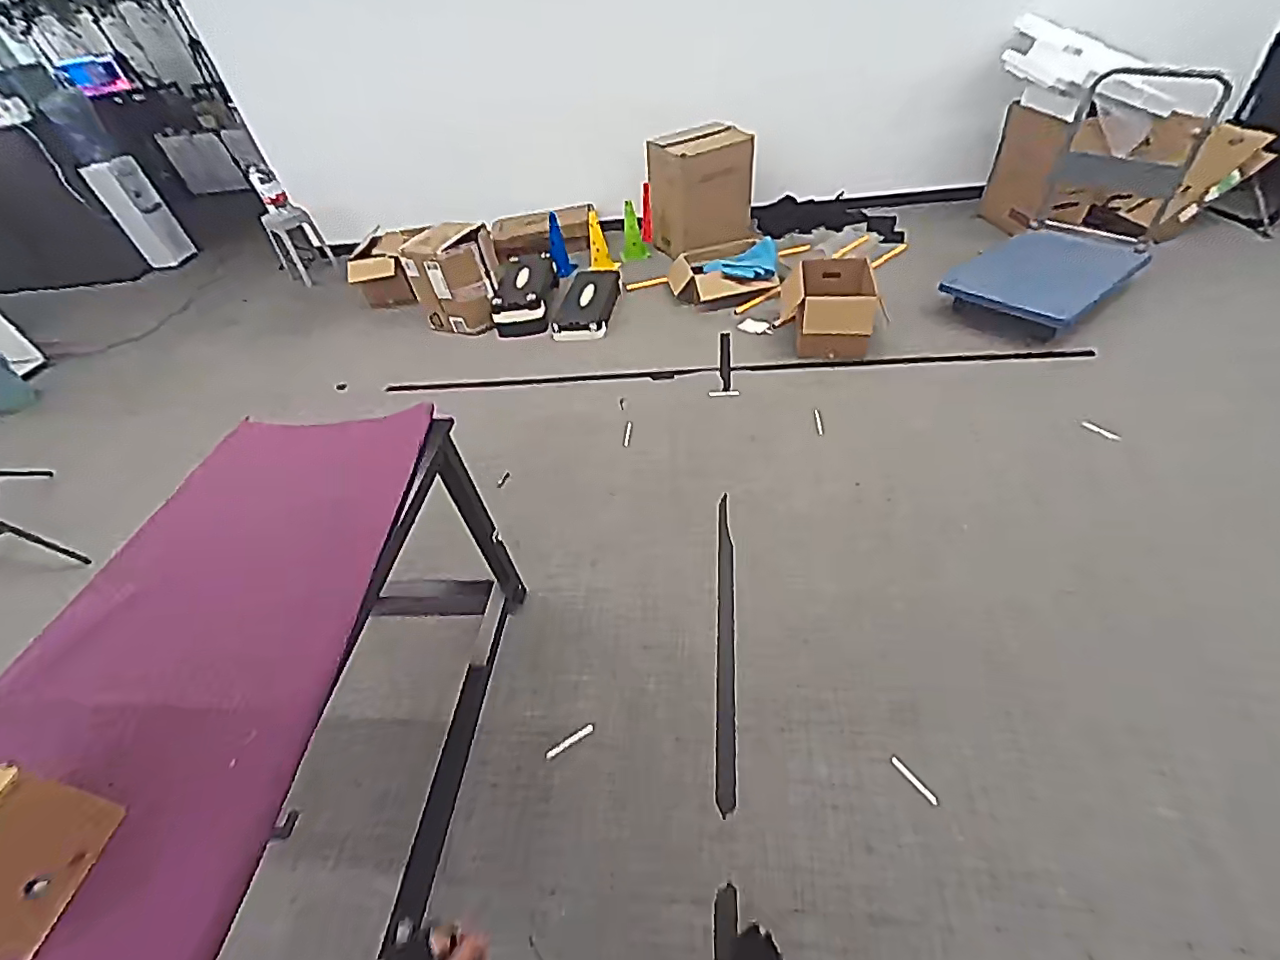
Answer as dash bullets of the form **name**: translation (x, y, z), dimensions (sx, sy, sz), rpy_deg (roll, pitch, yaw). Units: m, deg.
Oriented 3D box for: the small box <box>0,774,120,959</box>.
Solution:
- **small box**: translation (-0.805, 0.464, 0.640), dimensions (0.179, 0.176, 0.168), rpy_deg (-2, 44, 6)
